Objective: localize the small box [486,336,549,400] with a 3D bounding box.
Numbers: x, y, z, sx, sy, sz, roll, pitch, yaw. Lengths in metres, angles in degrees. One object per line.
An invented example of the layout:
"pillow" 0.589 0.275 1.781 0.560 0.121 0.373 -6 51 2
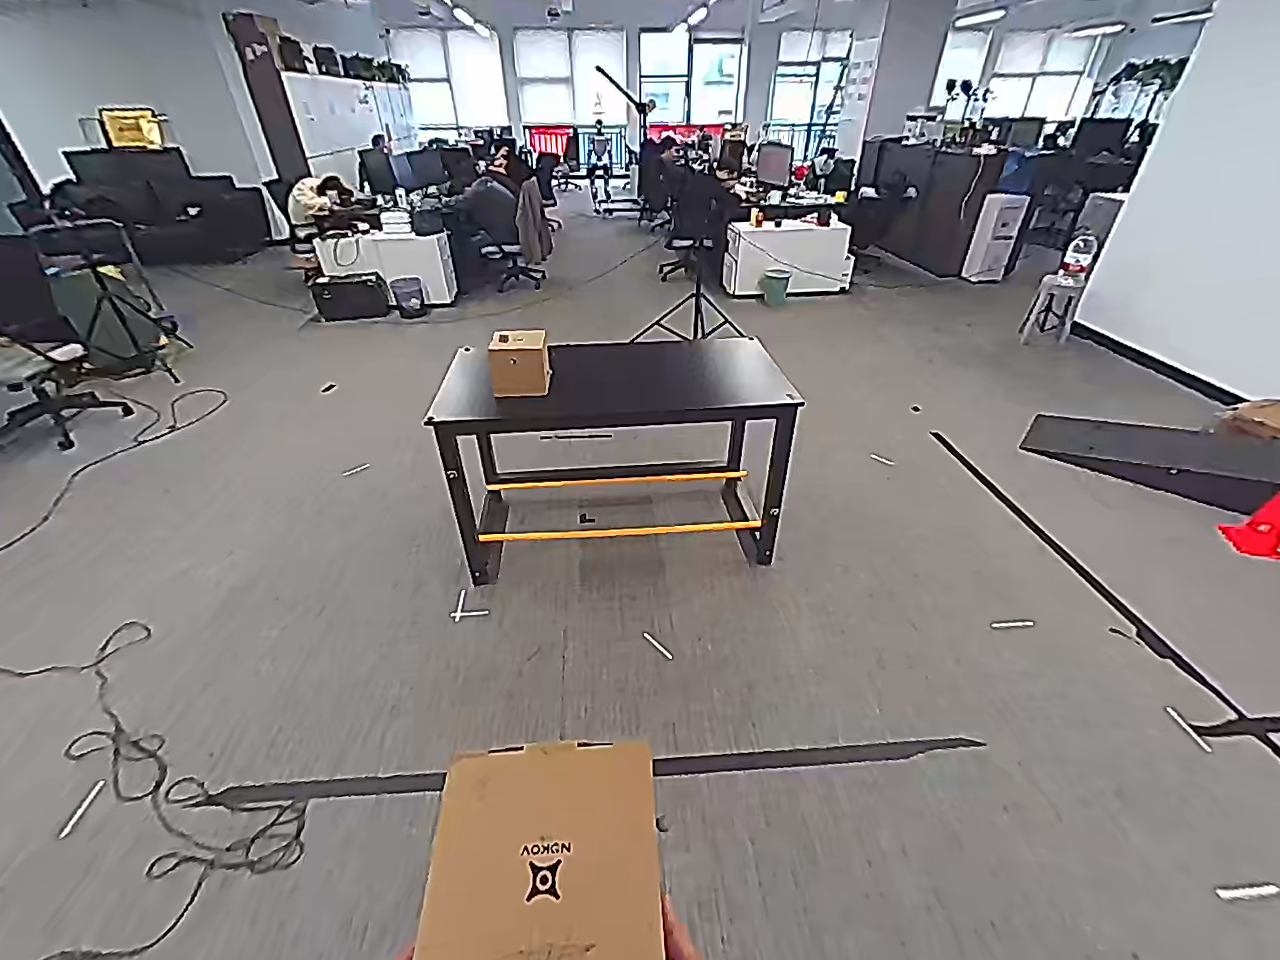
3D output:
"small box" -0.409 -0.379 1.834 0.179 0.176 0.168 -2 35 -4

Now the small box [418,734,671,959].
"small box" -0.064 0.333 0.441 0.168 0.176 0.179 -3 43 -2
